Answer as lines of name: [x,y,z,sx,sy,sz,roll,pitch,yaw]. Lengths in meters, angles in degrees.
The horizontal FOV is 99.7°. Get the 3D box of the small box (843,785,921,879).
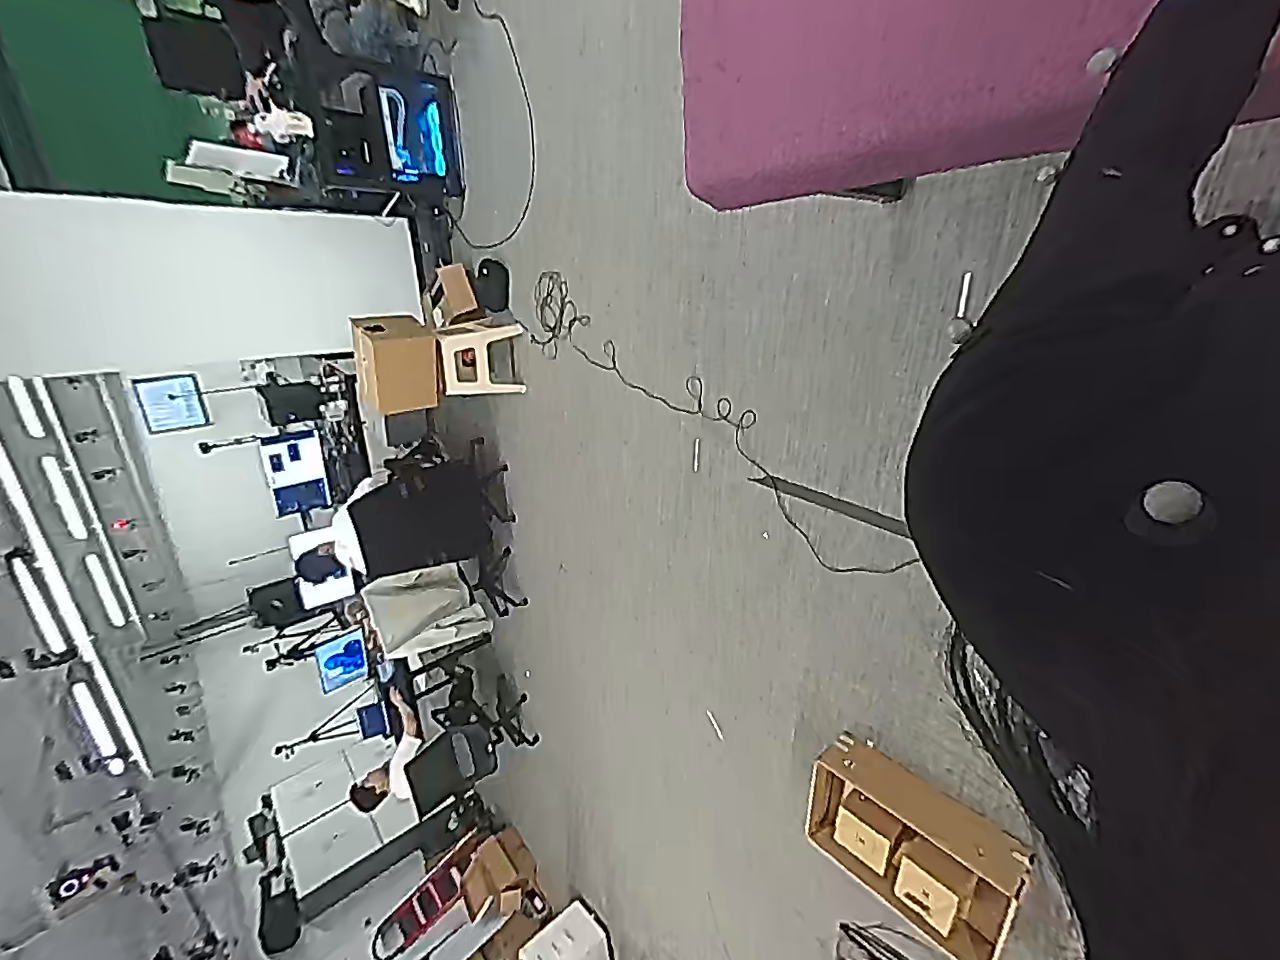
small box: [0.808,1.165,1.810,0.179,0.176,0.168,20,120,44]
